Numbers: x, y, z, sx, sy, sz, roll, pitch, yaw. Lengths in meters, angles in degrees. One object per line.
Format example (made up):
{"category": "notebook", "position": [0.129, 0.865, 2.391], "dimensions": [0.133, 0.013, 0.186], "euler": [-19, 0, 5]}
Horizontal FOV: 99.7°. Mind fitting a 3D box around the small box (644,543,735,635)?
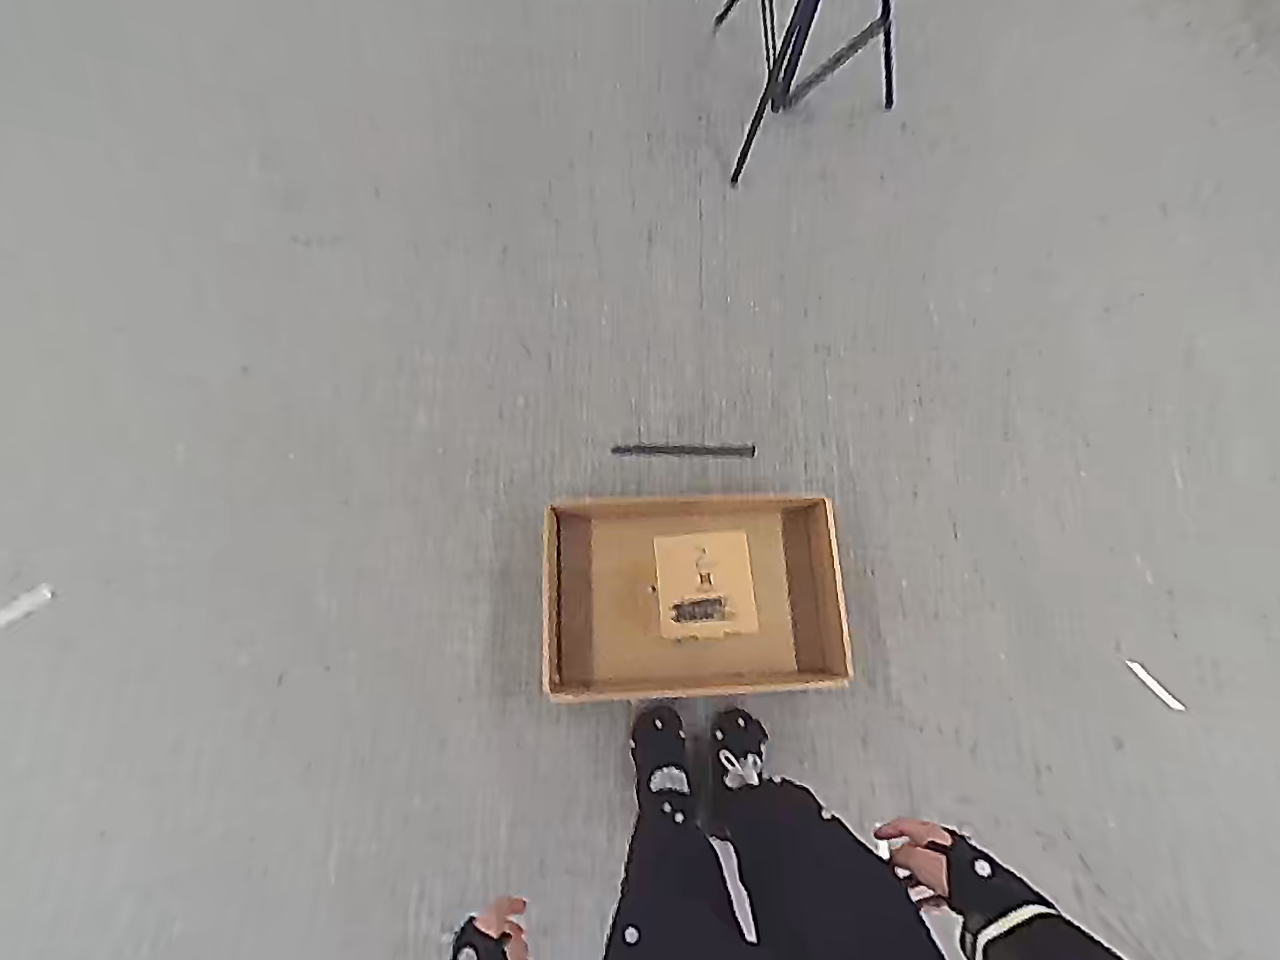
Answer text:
{"category": "small box", "position": [0.099, 0.238, 1.164], "dimensions": [0.168, 0.176, 0.179], "euler": [-3, 76, -4]}
